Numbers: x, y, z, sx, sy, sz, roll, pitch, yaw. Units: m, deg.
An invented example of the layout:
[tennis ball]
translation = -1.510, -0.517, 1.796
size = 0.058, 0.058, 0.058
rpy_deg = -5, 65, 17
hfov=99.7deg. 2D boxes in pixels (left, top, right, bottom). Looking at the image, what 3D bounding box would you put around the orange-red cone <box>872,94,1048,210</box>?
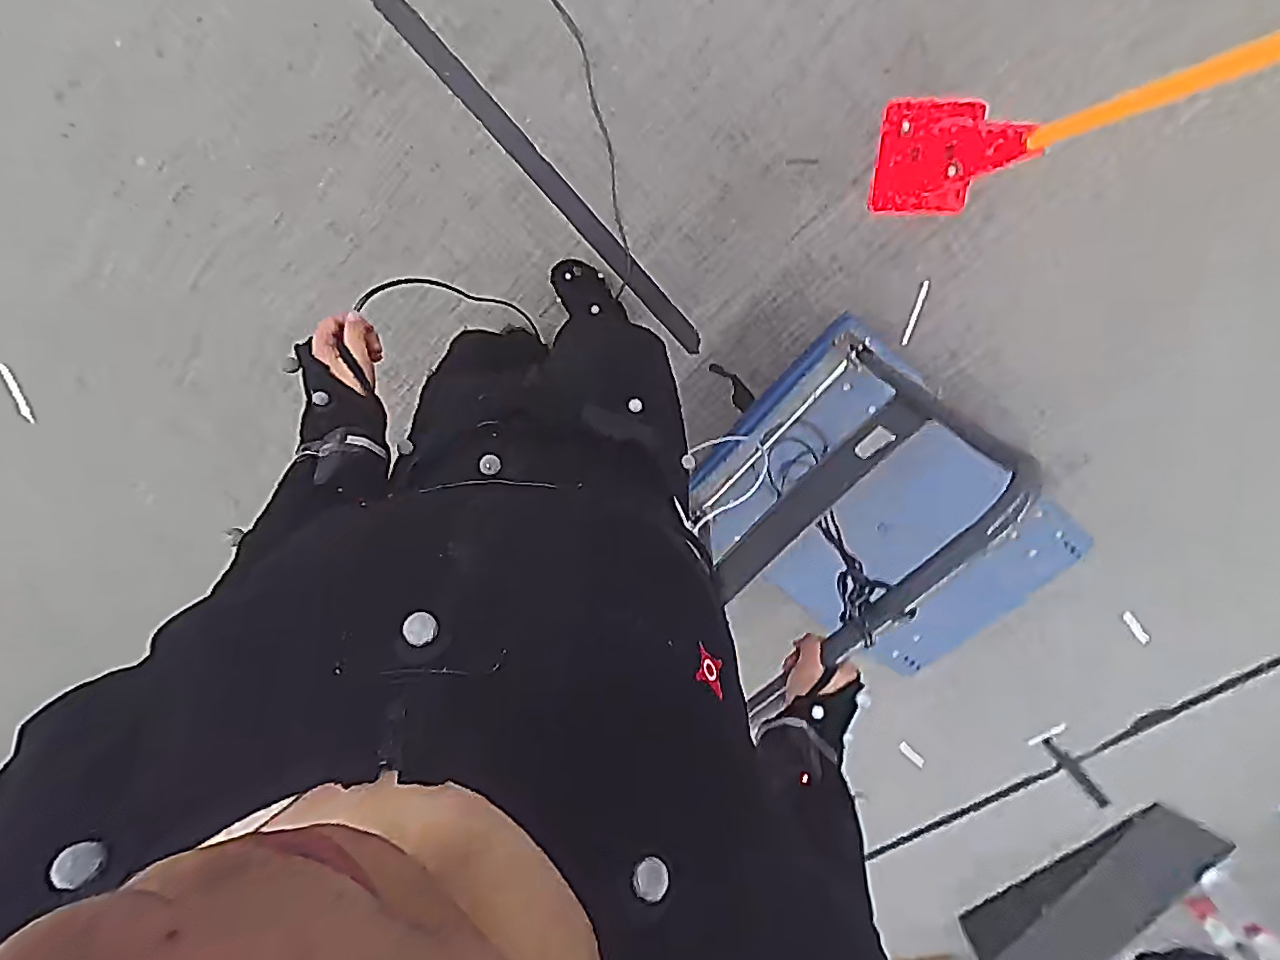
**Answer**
[orange-red cone]
translation = 0.575, -0.573, 0.932
size = 0.198, 0.360, 0.199
rpy_deg = 2, 118, 1
